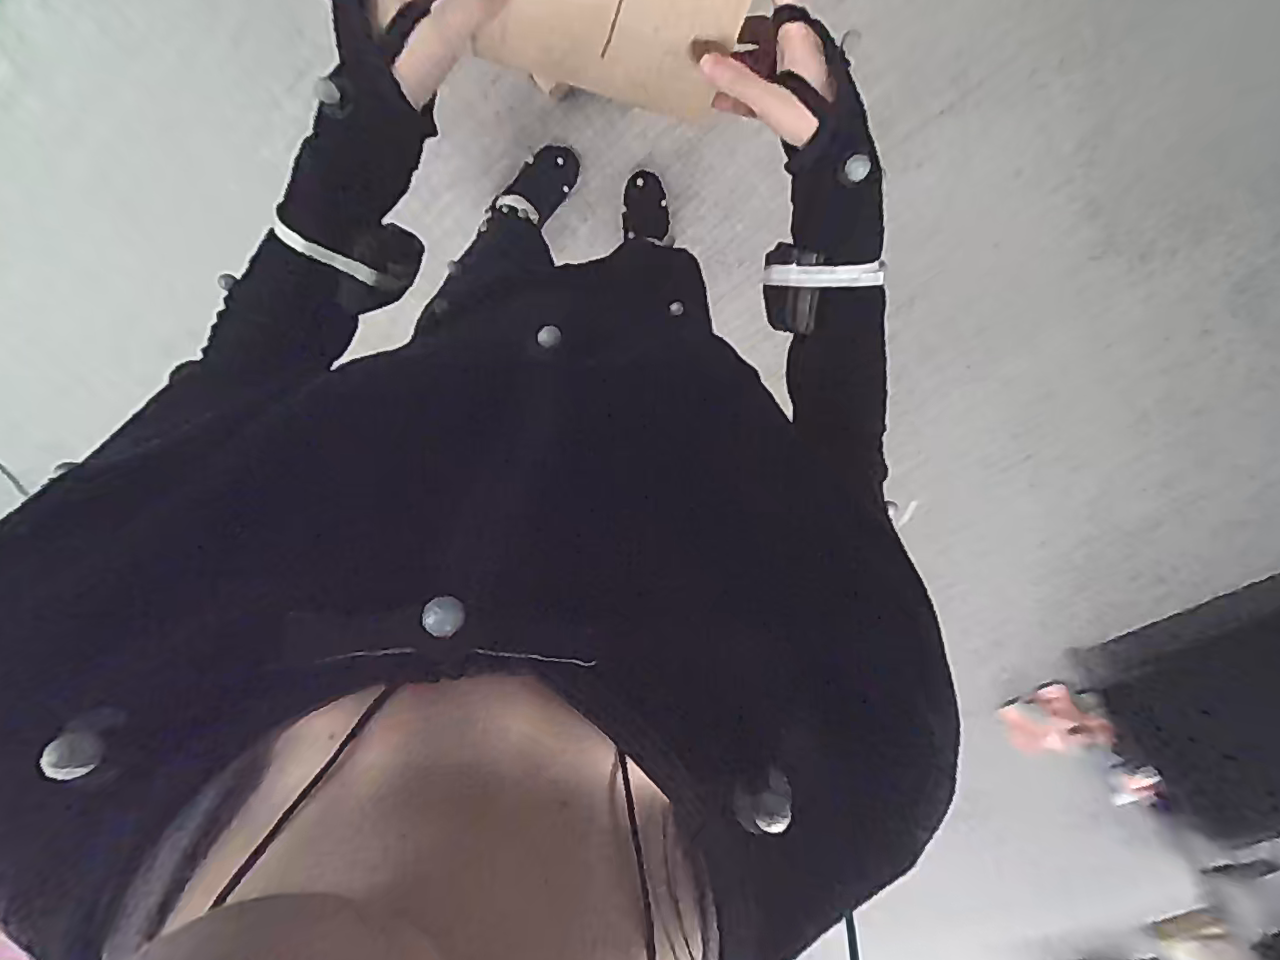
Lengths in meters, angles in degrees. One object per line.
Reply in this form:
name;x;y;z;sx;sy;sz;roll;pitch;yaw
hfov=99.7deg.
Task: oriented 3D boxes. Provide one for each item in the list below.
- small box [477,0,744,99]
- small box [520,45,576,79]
small box;-0.019;-0.392;0.340;0.168;0.176;0.179;-1;146;-23
small box;-0.168;-0.894;1.016;0.168;0.176;0.179;-33;116;19
